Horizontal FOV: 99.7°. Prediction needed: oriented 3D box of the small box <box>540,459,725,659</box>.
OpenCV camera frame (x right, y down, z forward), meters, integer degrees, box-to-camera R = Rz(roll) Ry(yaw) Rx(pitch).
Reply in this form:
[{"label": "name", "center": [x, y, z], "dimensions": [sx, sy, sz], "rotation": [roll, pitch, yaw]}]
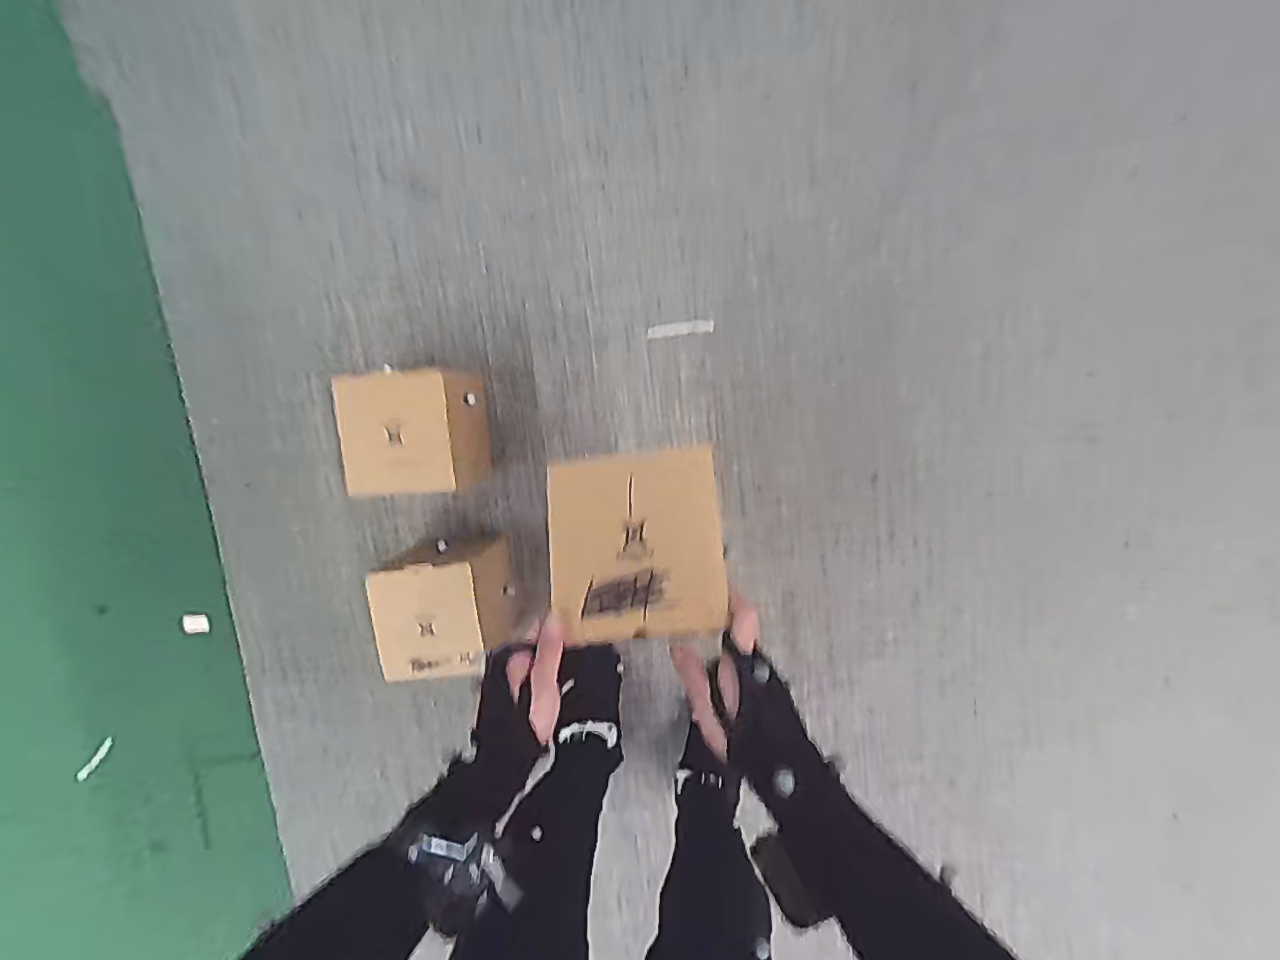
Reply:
[{"label": "small box", "center": [0.000, 0.090, 0.579], "dimensions": [0.168, 0.176, 0.179], "rotation": [-6, 74, 8]}]
